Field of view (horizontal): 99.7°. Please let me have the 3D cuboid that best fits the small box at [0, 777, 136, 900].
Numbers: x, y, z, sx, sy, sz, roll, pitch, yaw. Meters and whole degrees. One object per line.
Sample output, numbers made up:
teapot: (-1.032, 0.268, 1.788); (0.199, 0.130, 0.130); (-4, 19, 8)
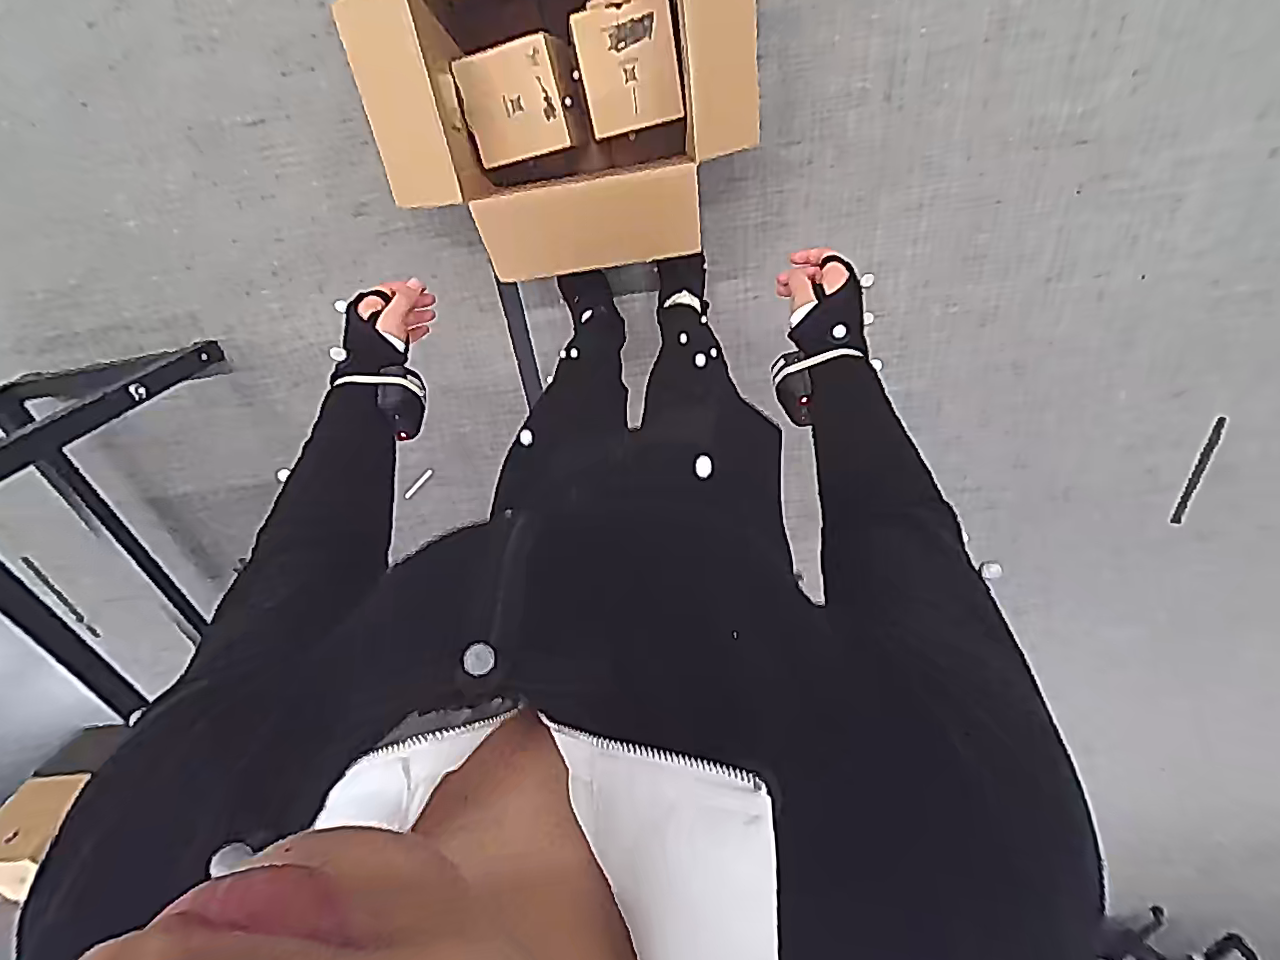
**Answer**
small box: (-1.231, 0.749, 1.139); (0.179, 0.176, 0.168); (-6, 122, 6)
